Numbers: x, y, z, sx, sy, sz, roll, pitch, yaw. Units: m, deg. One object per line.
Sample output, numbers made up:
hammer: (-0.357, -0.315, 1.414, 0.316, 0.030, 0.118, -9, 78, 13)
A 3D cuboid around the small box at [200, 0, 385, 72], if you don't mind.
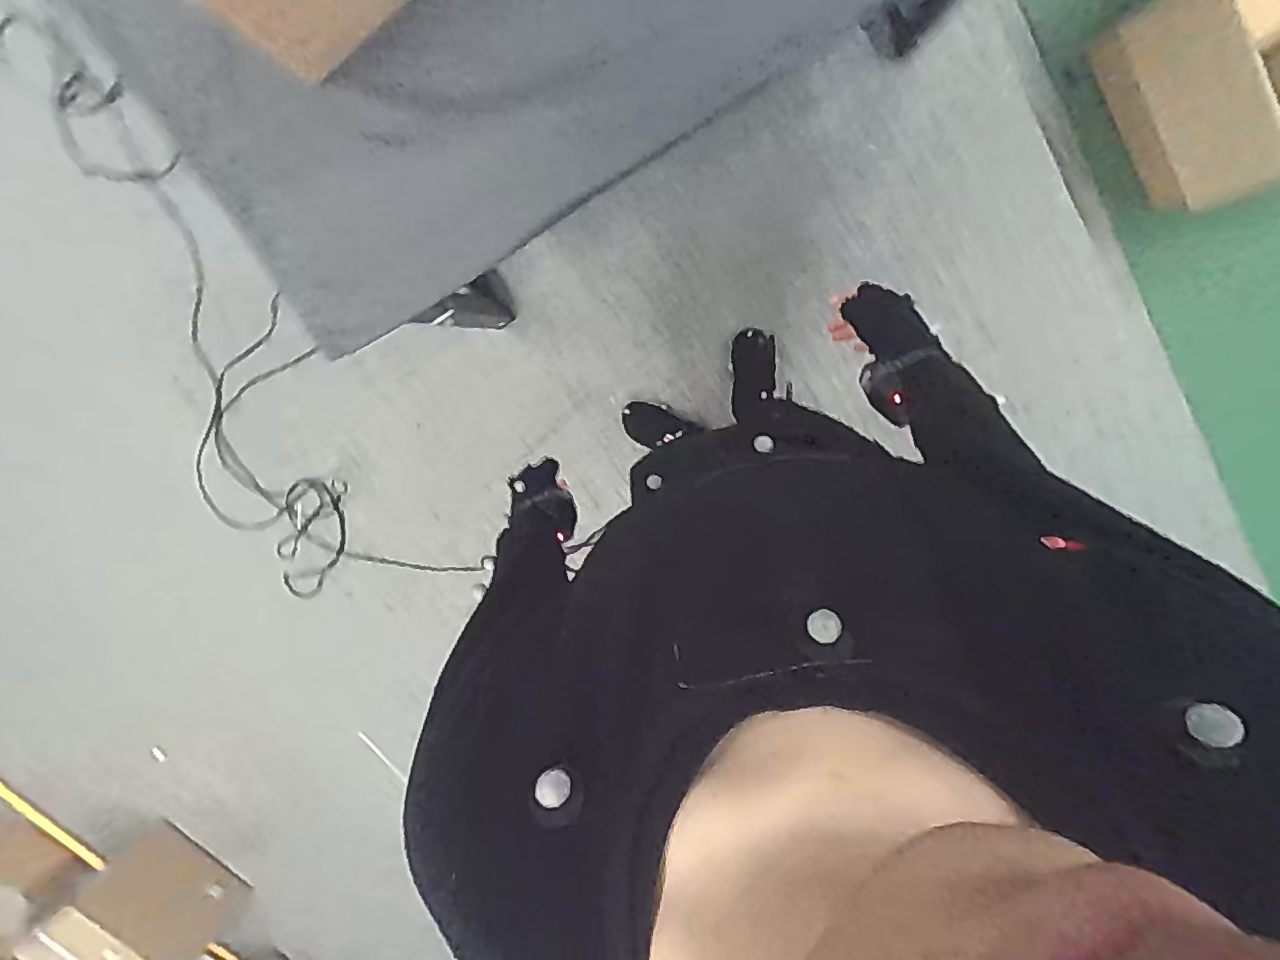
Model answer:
small box: (-0.376, -0.556, 0.525, 0.179, 0.176, 0.168, -34, 101, 9)
